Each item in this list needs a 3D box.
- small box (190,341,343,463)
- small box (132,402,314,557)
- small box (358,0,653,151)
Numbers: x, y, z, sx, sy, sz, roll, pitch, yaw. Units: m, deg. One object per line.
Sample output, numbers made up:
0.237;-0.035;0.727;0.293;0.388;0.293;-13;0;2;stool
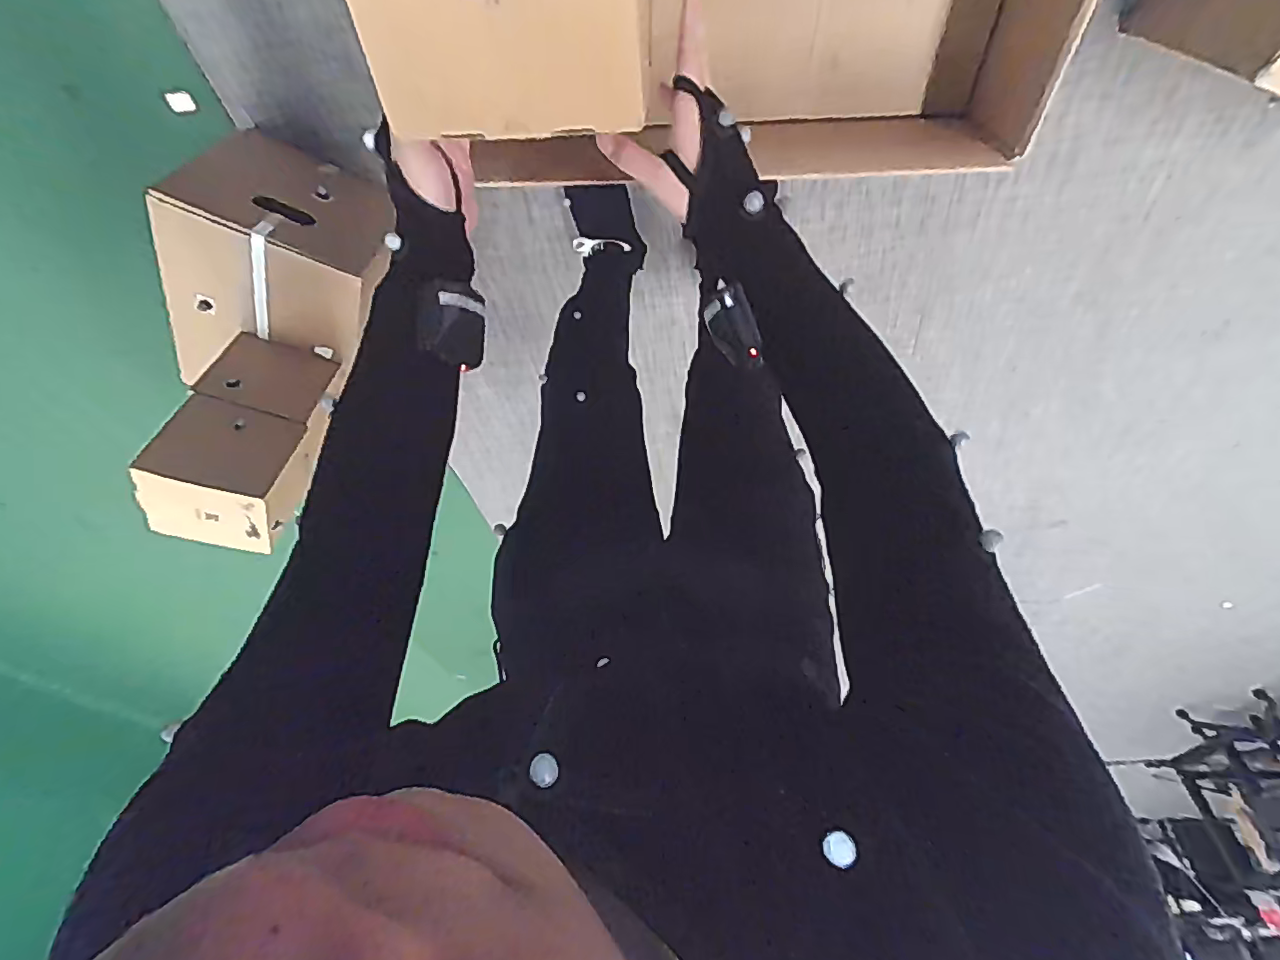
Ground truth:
-0.677;-0.128;0.997;0.179;0.176;0.168;17;136;-19;small box
-0.669;-0.002;0.892;0.179;0.176;0.168;18;136;-18;small box
-0.076;-0.337;0.344;0.168;0.176;0.179;0;140;3;small box
